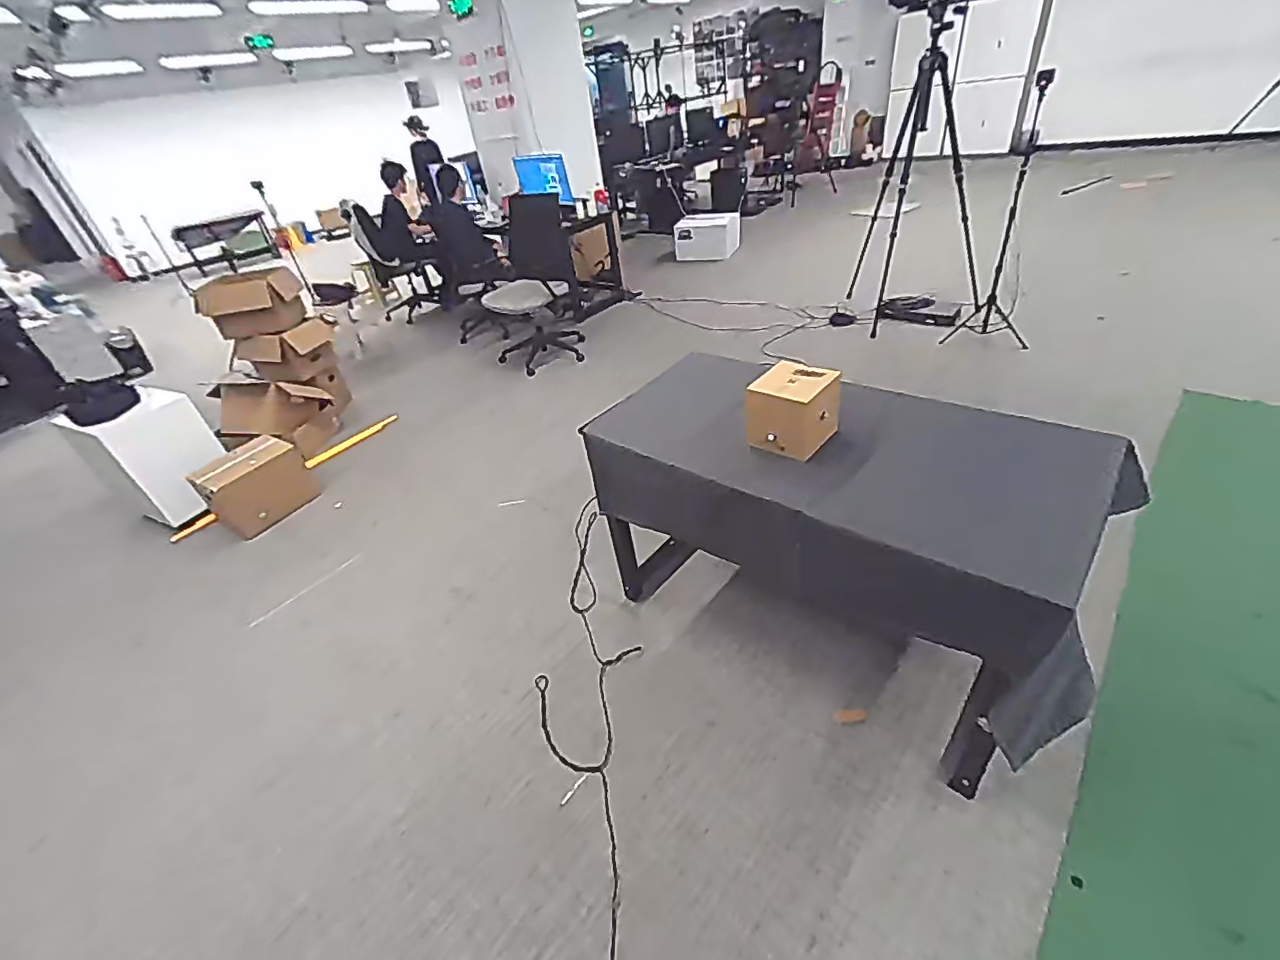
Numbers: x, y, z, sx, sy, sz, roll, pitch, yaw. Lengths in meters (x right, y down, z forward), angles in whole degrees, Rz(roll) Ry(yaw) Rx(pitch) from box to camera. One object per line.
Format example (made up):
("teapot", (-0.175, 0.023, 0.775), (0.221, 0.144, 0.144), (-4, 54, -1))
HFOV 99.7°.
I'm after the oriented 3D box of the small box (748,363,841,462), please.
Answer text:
("small box", (0.386, -0.172, 1.368), (0.168, 0.176, 0.179), (22, 46, 37))
